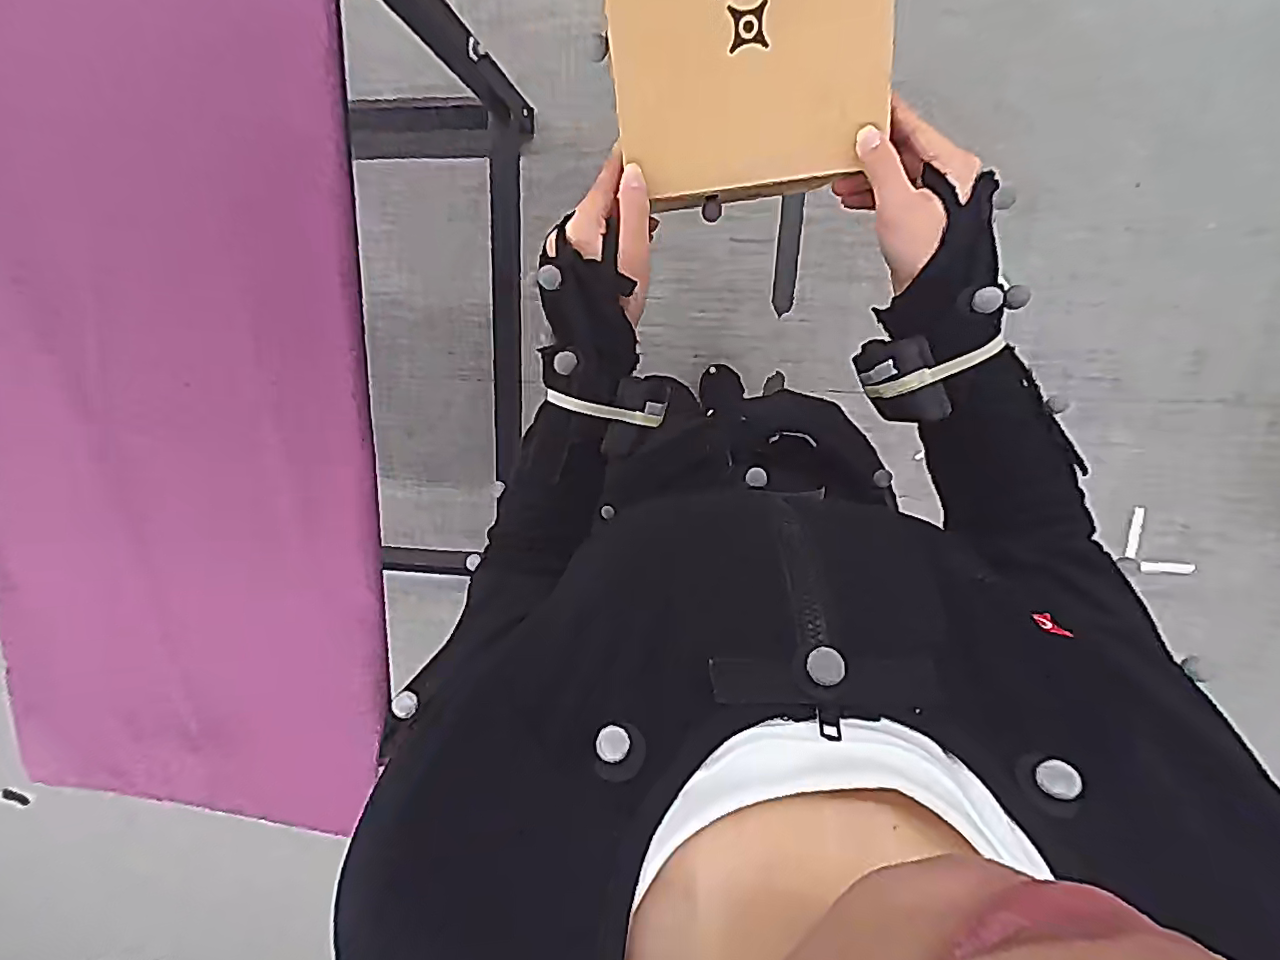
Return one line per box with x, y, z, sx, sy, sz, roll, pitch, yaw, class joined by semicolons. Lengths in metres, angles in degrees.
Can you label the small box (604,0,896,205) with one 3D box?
0.067;-0.301;0.382;0.168;0.176;0.179;-5;112;5;small box
